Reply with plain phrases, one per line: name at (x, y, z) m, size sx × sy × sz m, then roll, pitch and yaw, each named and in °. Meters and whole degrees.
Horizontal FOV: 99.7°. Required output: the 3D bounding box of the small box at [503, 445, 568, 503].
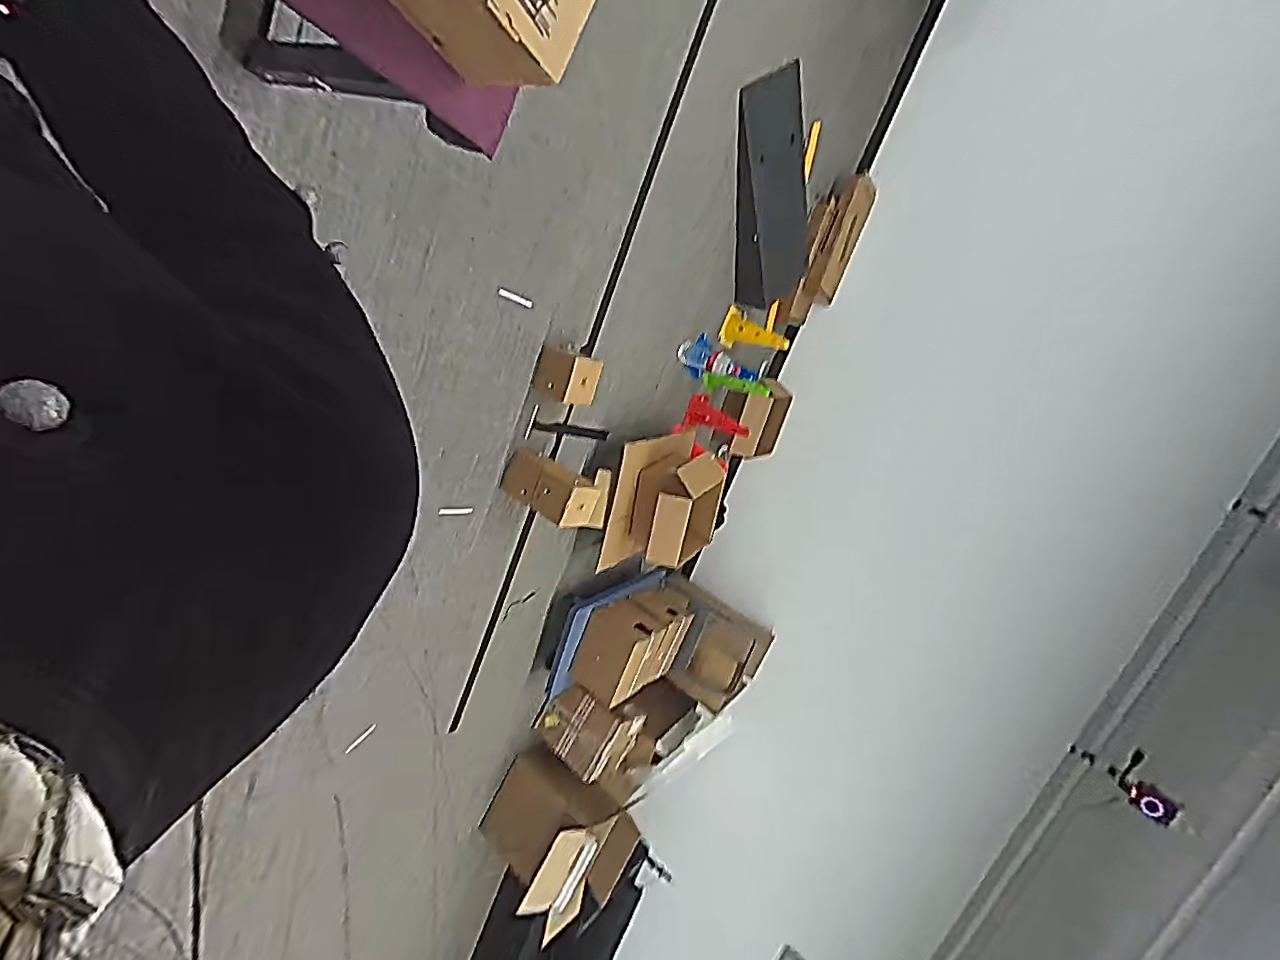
small box at (-0.418, -0.019, 2.158) m, size 0.168 × 0.176 × 0.179 m, roll 9°, pitch 109°, yaw -60°

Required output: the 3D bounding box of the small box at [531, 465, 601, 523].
small box at (-0.287, 0.051, 2.092) m, size 0.179 × 0.176 × 0.168 m, roll 1°, pitch 115°, yaw -58°

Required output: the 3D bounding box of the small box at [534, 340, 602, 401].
small box at (-0.275, -0.410, 2.041) m, size 0.168 × 0.176 × 0.179 m, roll -9°, pitch 122°, yaw -57°
